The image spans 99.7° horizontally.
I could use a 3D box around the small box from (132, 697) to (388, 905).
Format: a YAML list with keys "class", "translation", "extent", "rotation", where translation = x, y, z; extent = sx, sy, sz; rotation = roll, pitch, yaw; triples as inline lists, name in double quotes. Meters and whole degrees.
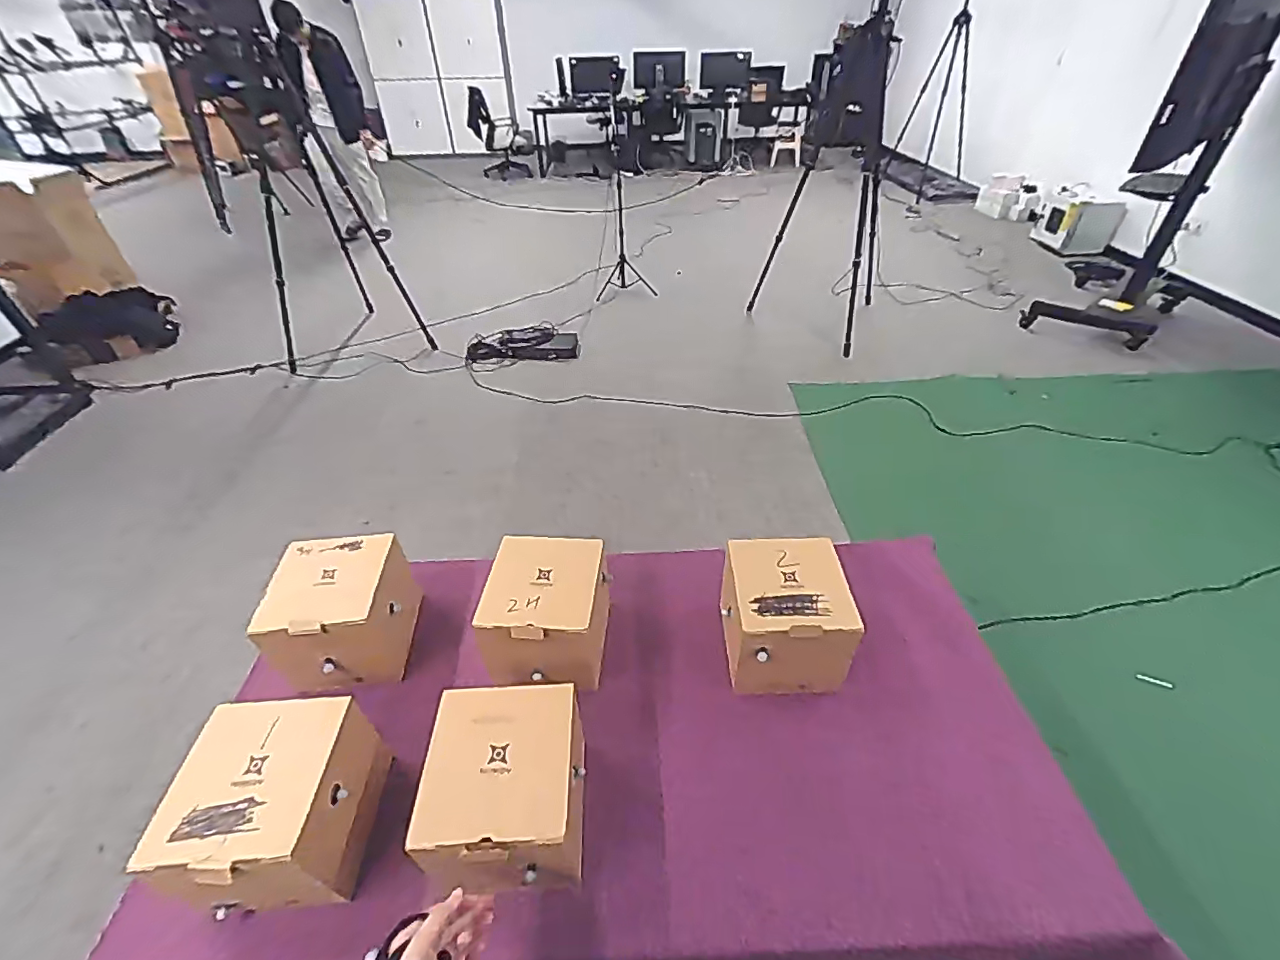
- class: "small box"
  translation: [-0.432, 0.393, 0.659]
  extent: [0.168, 0.176, 0.179]
  rotation: [-3, 39, -2]

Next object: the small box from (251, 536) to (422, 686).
- class: "small box"
  translation: [-0.469, 0.215, 0.871]
  extent: [0.168, 0.176, 0.179]
  rotation: [-5, 41, -4]

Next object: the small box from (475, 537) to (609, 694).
- class: "small box"
  translation: [-0.142, 0.213, 0.861]
  extent: [0.168, 0.176, 0.179]
  rotation: [2, 41, 5]

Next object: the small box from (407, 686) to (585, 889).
- class: "small box"
  translation: [-0.158, 0.380, 0.666]
  extent: [0.168, 0.176, 0.179]
  rotation: [-2, 39, -1]
